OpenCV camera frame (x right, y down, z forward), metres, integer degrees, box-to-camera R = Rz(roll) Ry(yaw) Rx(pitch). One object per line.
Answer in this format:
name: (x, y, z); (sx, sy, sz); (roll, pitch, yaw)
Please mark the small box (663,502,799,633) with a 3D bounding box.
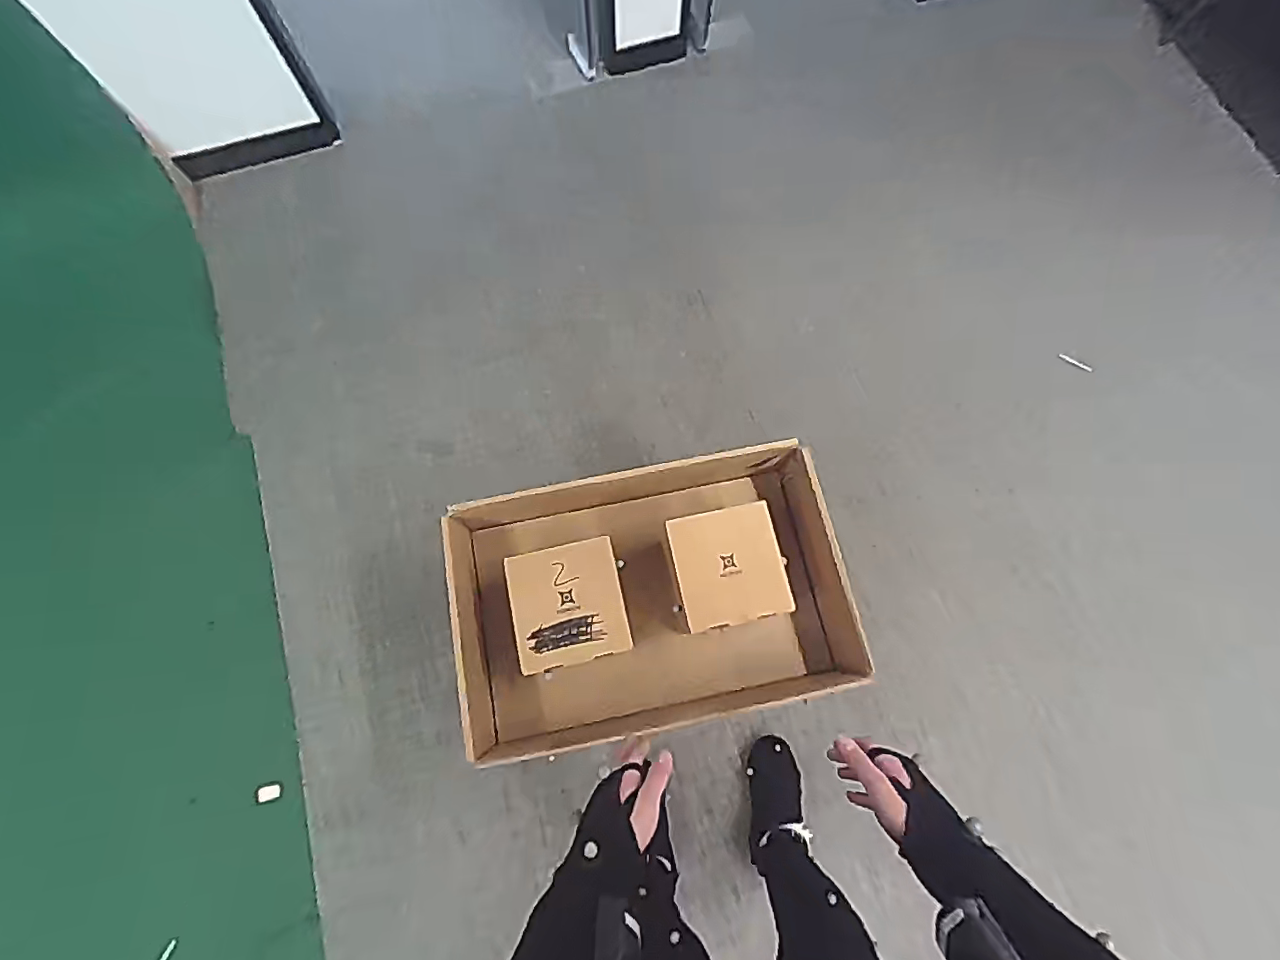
small box: (0.138, 0.149, 0.893); (0.168, 0.176, 0.179); (-11, 77, -4)
